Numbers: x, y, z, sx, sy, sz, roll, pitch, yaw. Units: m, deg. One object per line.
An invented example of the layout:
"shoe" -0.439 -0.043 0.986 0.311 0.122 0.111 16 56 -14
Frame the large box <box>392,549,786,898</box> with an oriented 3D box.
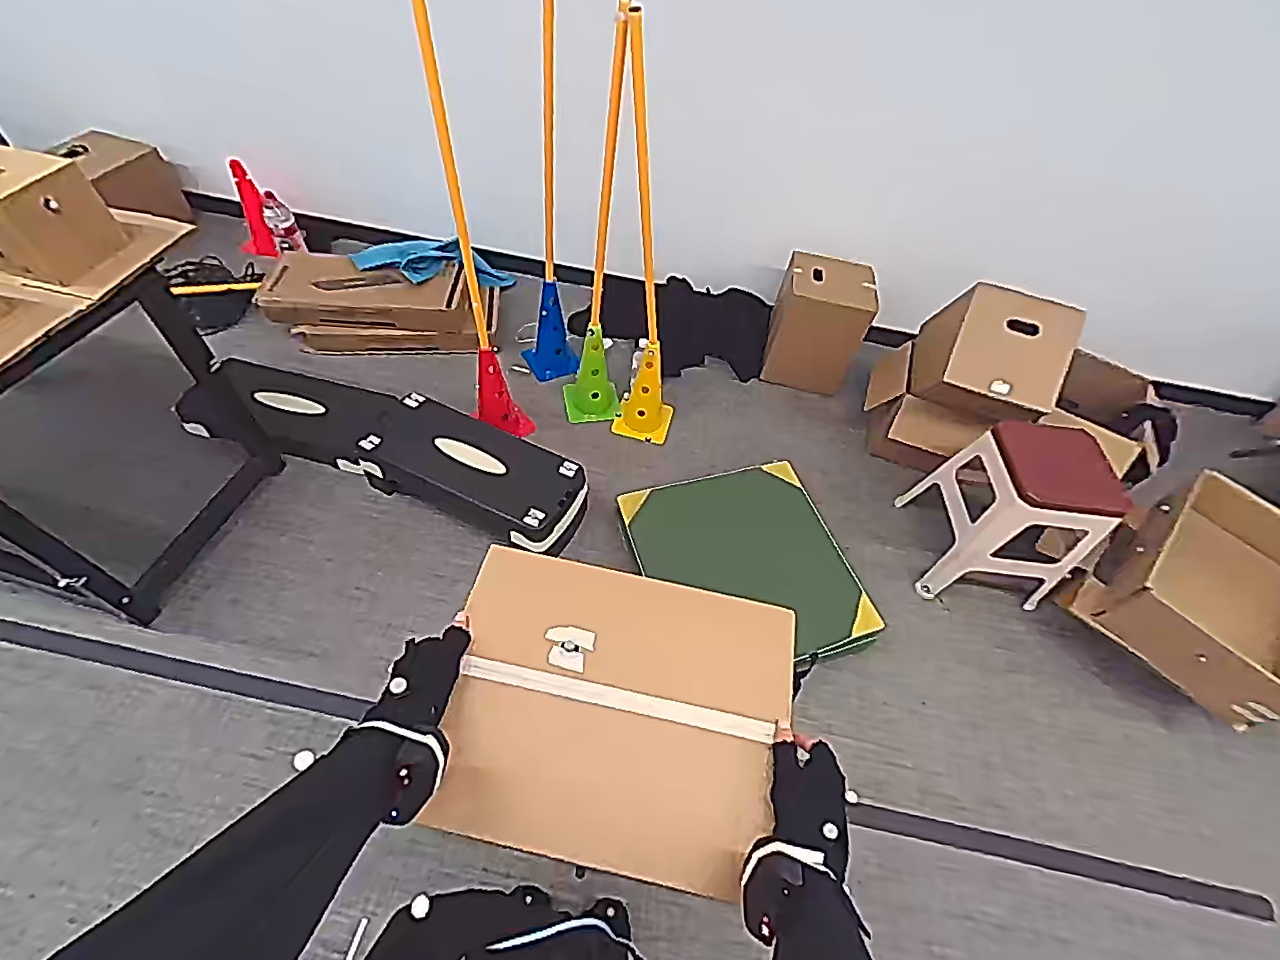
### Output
"large box" -0.040 0.334 0.749 0.408 0.320 0.320 12 55 4
